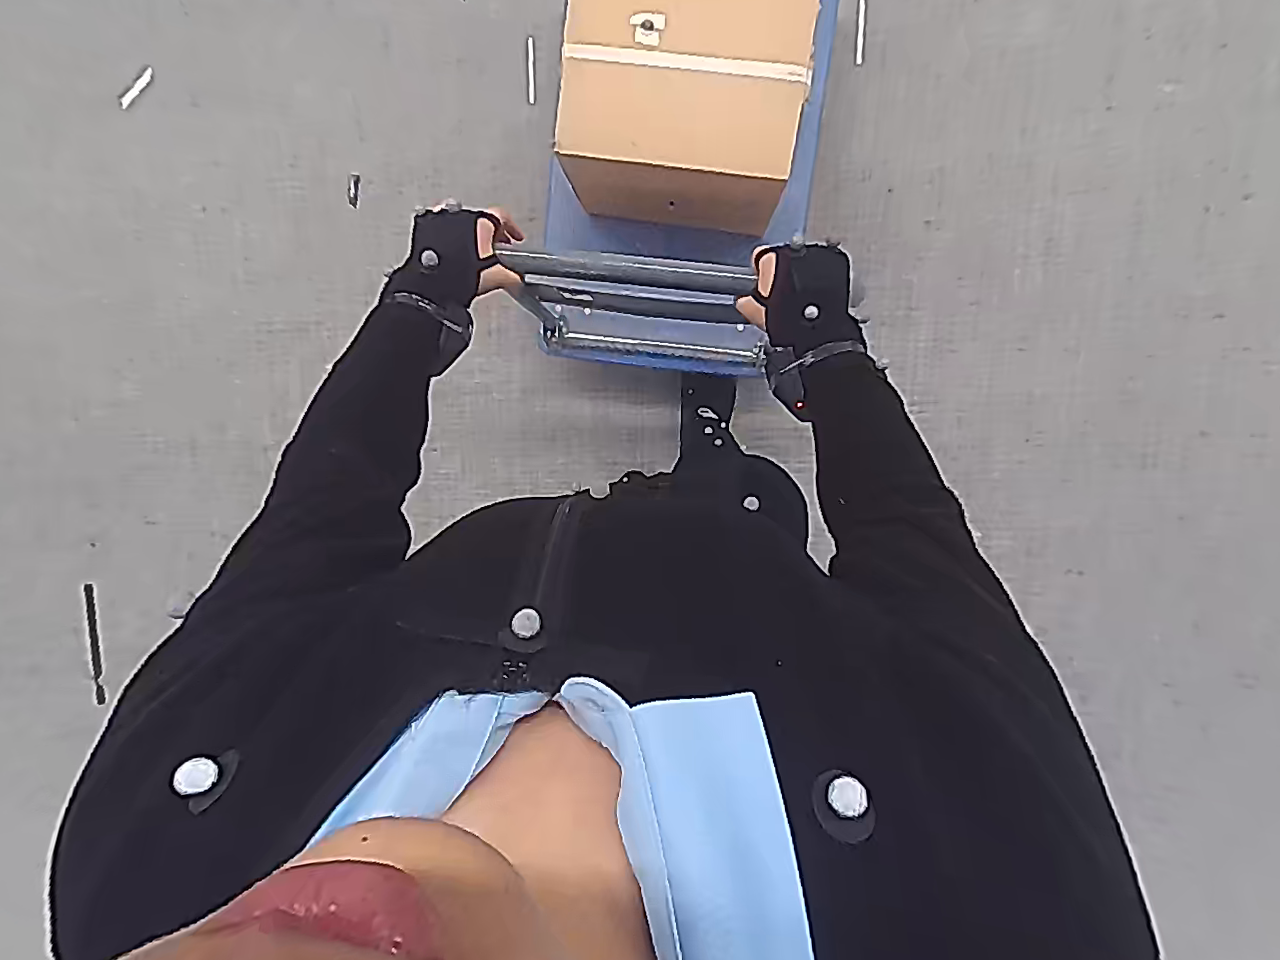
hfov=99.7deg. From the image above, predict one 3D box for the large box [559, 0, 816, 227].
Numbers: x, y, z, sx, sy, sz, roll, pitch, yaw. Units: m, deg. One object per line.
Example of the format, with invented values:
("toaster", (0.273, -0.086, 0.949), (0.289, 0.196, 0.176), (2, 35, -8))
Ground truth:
("large box", (0.089, -0.712, 1.048), (0.408, 0.320, 0.320), (9, 98, 4))
